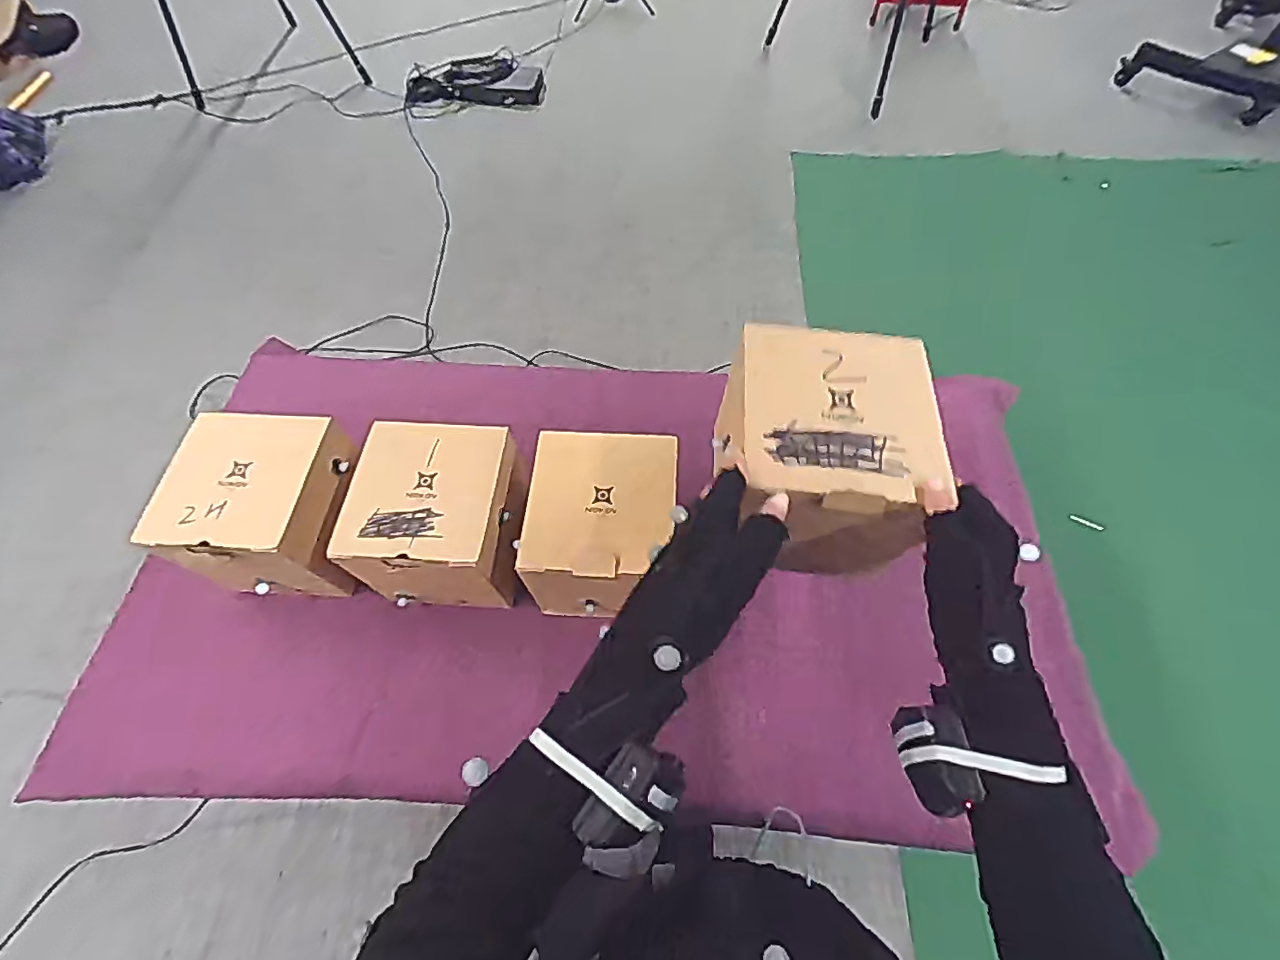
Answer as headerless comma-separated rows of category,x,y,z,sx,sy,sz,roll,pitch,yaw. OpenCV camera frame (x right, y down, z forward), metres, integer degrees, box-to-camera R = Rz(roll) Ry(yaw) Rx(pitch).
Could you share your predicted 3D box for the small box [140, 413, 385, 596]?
small box,-0.455,0.035,0.692,0.168,0.176,0.179,3,62,3
